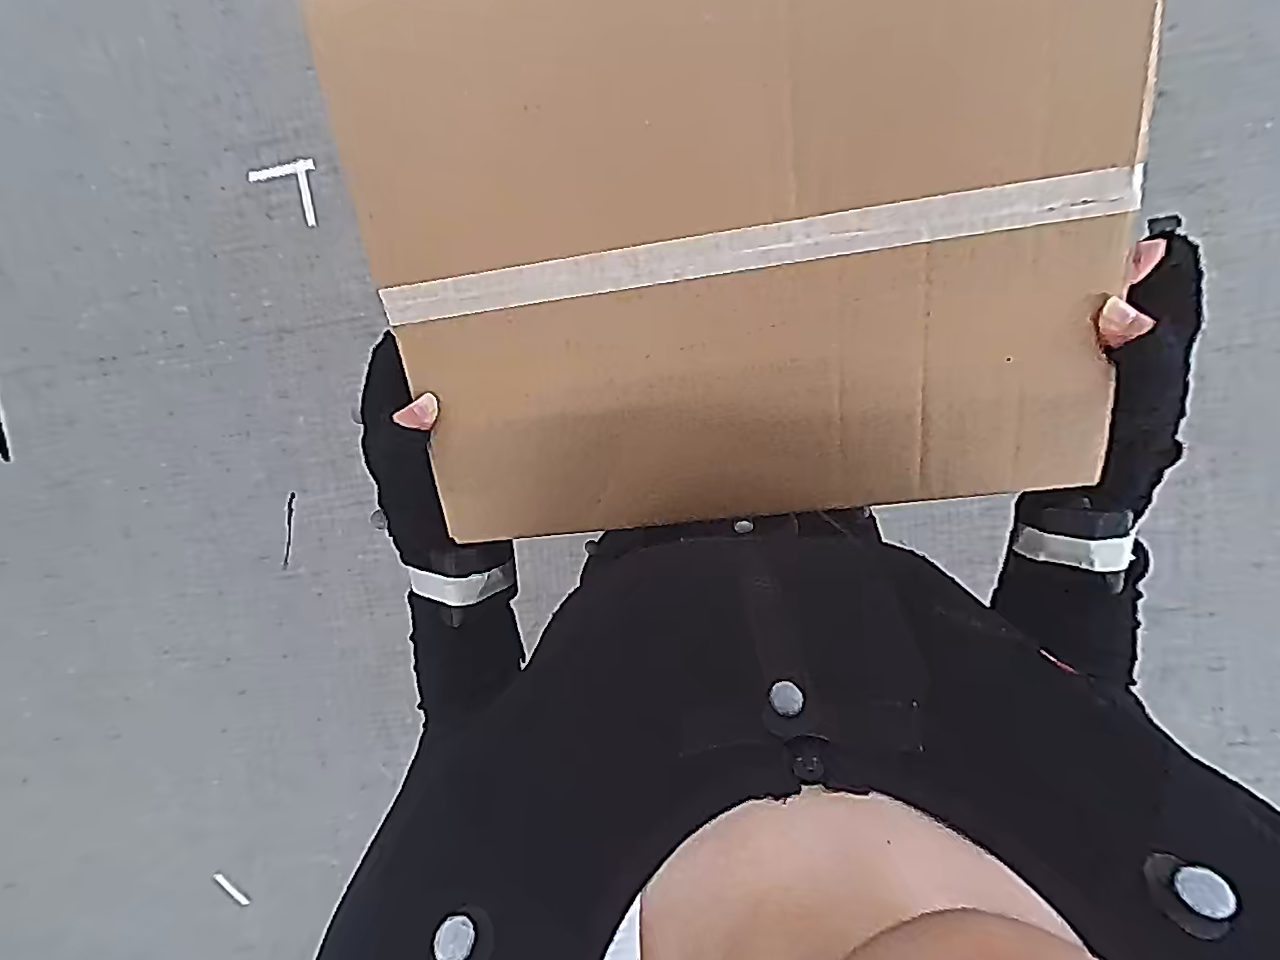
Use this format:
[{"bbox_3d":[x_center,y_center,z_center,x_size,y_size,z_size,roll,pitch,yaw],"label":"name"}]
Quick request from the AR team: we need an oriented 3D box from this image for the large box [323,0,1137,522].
[{"bbox_3d":[0.059,-0.184,0.444,0.408,0.320,0.320,-6,110,7],"label":"large box"}]
